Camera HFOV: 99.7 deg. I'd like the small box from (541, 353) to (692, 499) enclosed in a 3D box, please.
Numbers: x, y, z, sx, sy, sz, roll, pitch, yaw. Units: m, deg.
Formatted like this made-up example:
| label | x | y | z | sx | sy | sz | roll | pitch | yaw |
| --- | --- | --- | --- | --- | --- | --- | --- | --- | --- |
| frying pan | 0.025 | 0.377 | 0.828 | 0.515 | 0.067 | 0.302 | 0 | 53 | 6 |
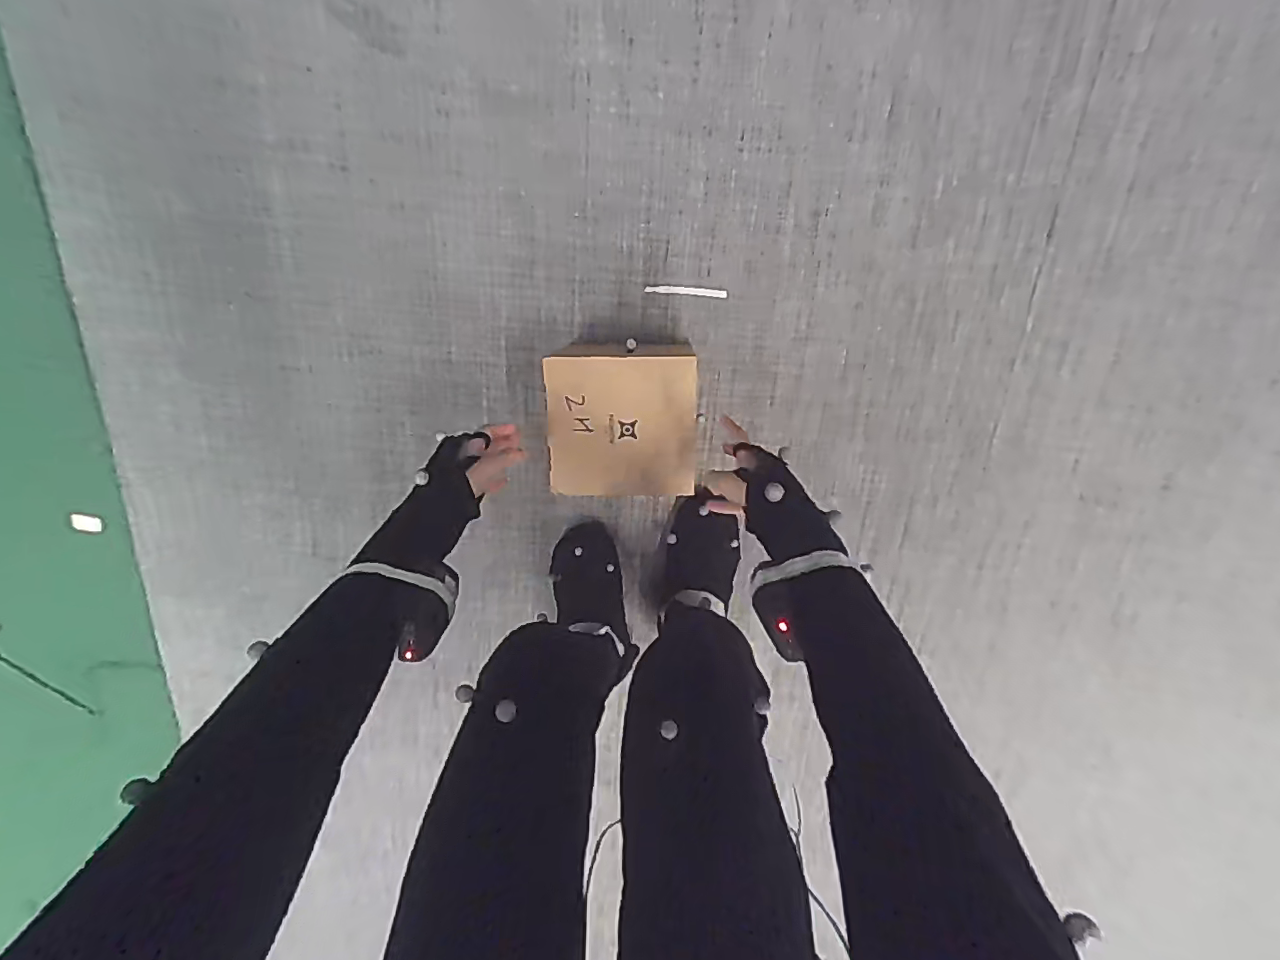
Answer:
| label | x | y | z | sx | sy | sz | roll | pitch | yaw |
| --- | --- | --- | --- | --- | --- | --- | --- | --- | --- |
| small box | -0.025 | -0.080 | 0.719 | 0.179 | 0.176 | 0.168 | 1 | 107 | 3 |
